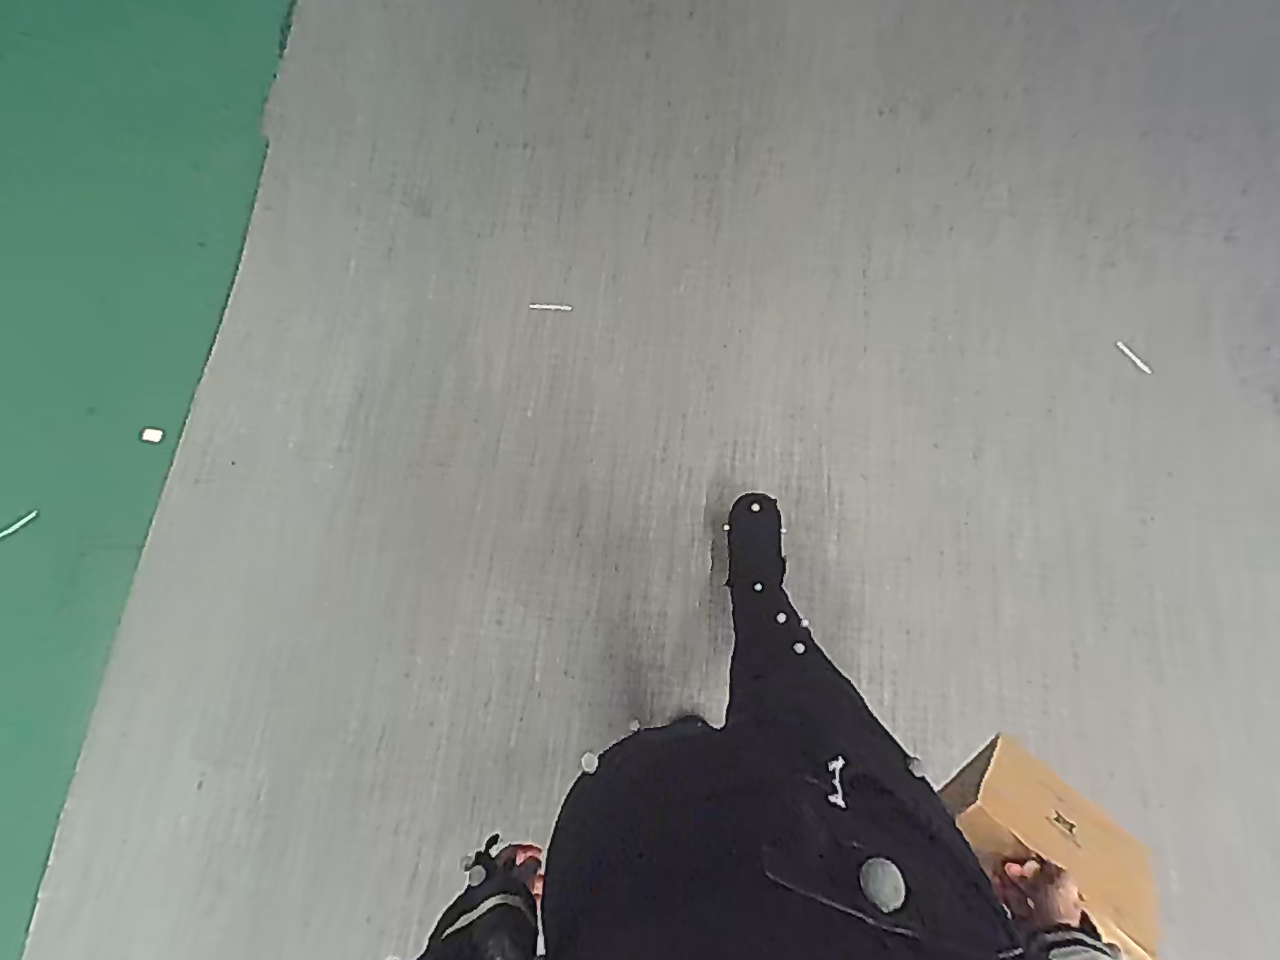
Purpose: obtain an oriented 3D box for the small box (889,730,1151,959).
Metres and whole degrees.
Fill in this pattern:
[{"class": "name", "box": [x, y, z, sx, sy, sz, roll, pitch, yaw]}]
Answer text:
[{"class": "small box", "box": [0.411, 0.428, 0.603, 0.168, 0.179, 0.176, 41, 117, 31]}]
